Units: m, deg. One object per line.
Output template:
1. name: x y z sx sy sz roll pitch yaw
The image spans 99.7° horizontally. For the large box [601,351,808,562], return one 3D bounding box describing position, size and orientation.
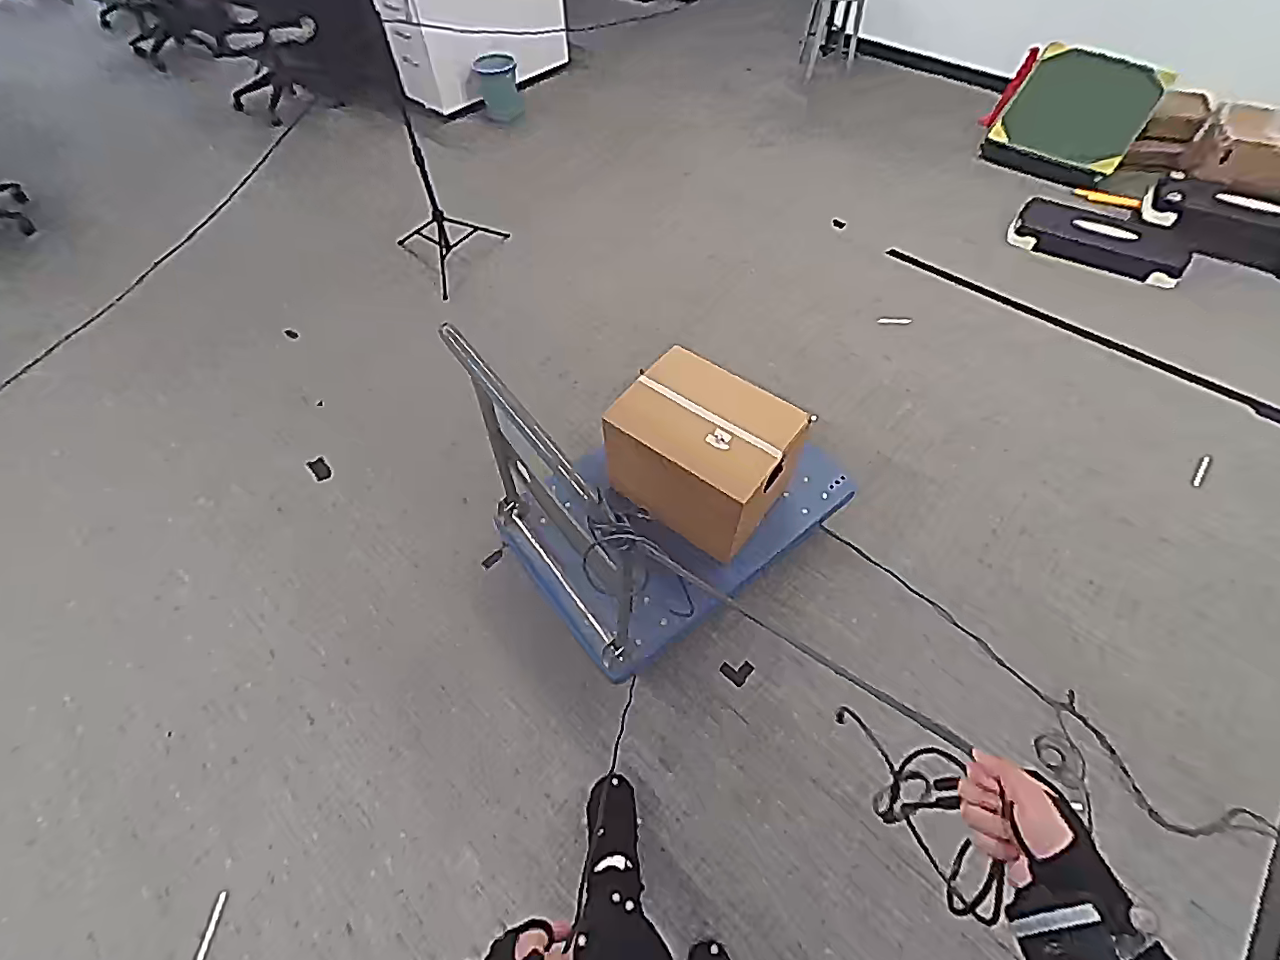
1. large box: 0.151 -0.061 1.403 0.408 0.320 0.320 32 63 20
